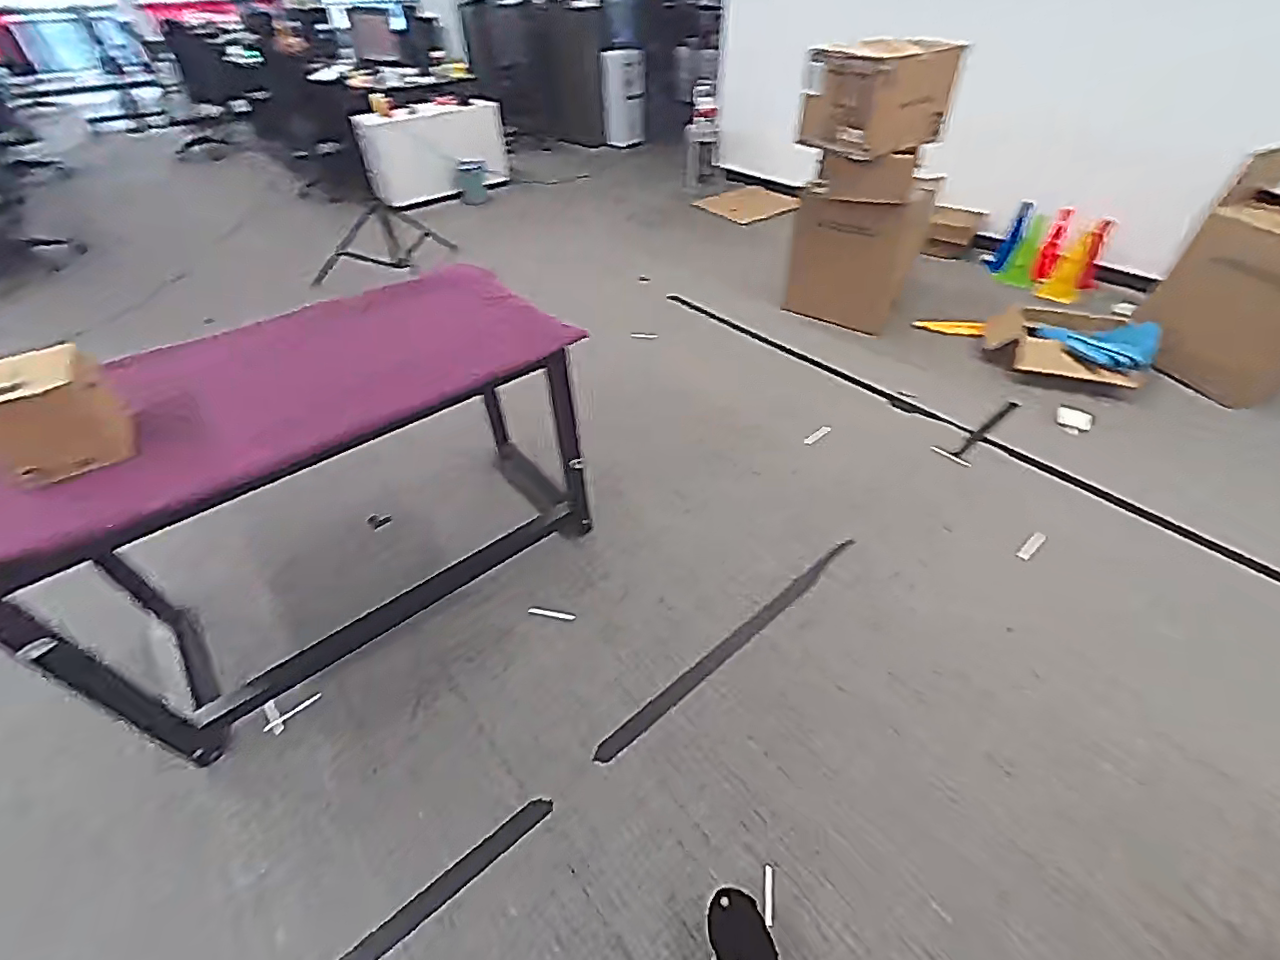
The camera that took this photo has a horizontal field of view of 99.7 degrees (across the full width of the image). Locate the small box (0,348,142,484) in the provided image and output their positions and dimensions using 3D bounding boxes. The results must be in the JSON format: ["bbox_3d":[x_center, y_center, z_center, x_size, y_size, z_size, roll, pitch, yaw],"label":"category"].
[{"bbox_3d":[-1.073,-0.113,1.001,0.168,0.176,0.179,-25,48,-23],"label":"small box"}]
